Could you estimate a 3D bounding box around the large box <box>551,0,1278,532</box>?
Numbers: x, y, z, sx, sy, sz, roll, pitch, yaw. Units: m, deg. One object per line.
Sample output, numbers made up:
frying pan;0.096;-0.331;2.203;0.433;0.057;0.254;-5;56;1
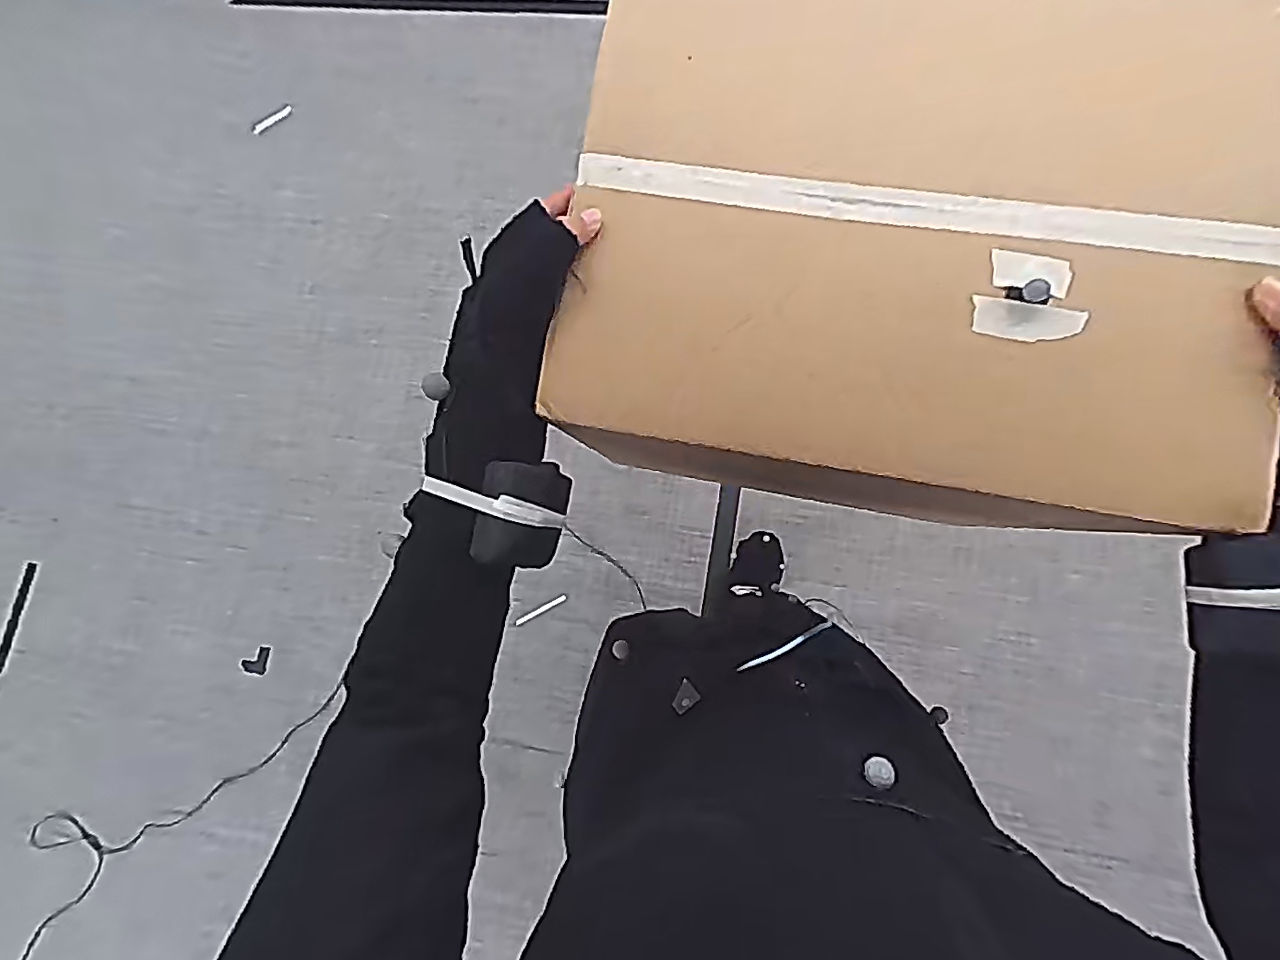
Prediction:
large box;0.171;-0.140;0.479;0.408;0.320;0.320;10;88;6
